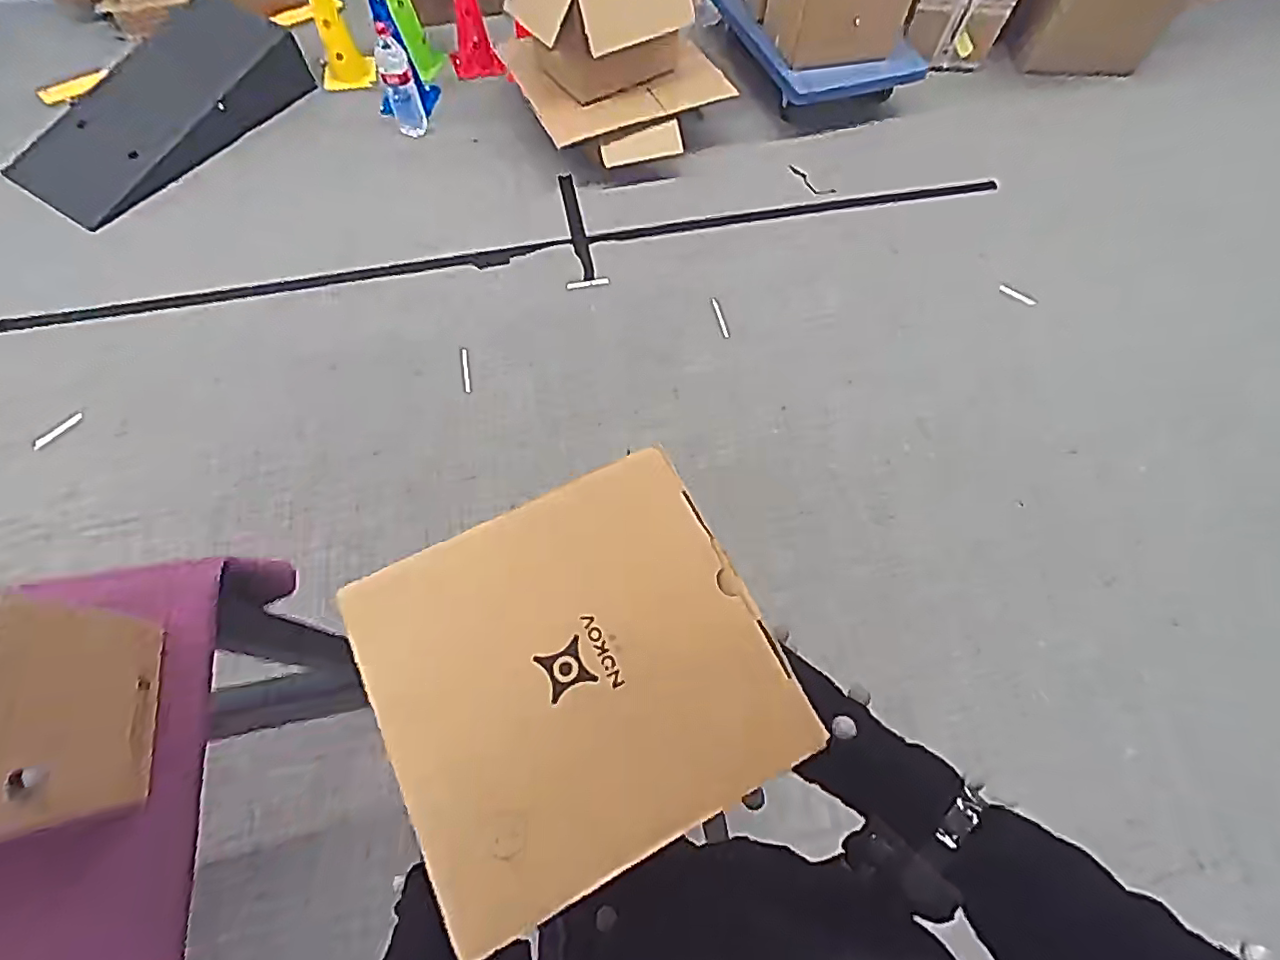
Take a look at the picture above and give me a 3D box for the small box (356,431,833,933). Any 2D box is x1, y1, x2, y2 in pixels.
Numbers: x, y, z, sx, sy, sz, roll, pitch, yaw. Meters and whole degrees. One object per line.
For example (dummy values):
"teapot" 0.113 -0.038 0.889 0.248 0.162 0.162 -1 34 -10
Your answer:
"small box" -0.026 0.104 0.324 0.179 0.176 0.168 -26 73 -11
